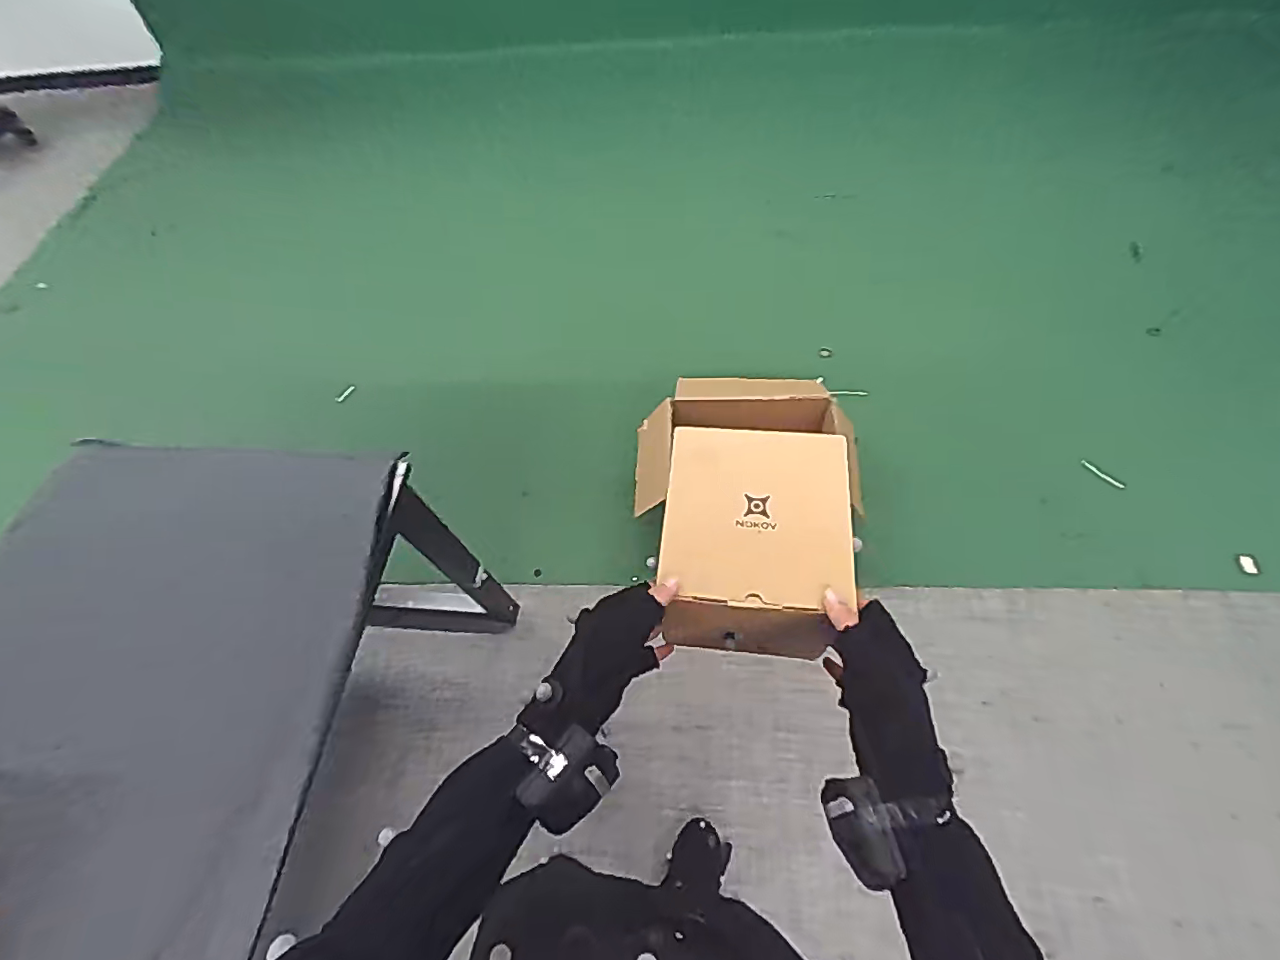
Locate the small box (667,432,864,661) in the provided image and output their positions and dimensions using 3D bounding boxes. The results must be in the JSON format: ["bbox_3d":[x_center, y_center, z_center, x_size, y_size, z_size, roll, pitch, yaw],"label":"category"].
[{"bbox_3d":[0.120,0.073,0.560,0.168,0.176,0.179,4,61,8],"label":"small box"}]
